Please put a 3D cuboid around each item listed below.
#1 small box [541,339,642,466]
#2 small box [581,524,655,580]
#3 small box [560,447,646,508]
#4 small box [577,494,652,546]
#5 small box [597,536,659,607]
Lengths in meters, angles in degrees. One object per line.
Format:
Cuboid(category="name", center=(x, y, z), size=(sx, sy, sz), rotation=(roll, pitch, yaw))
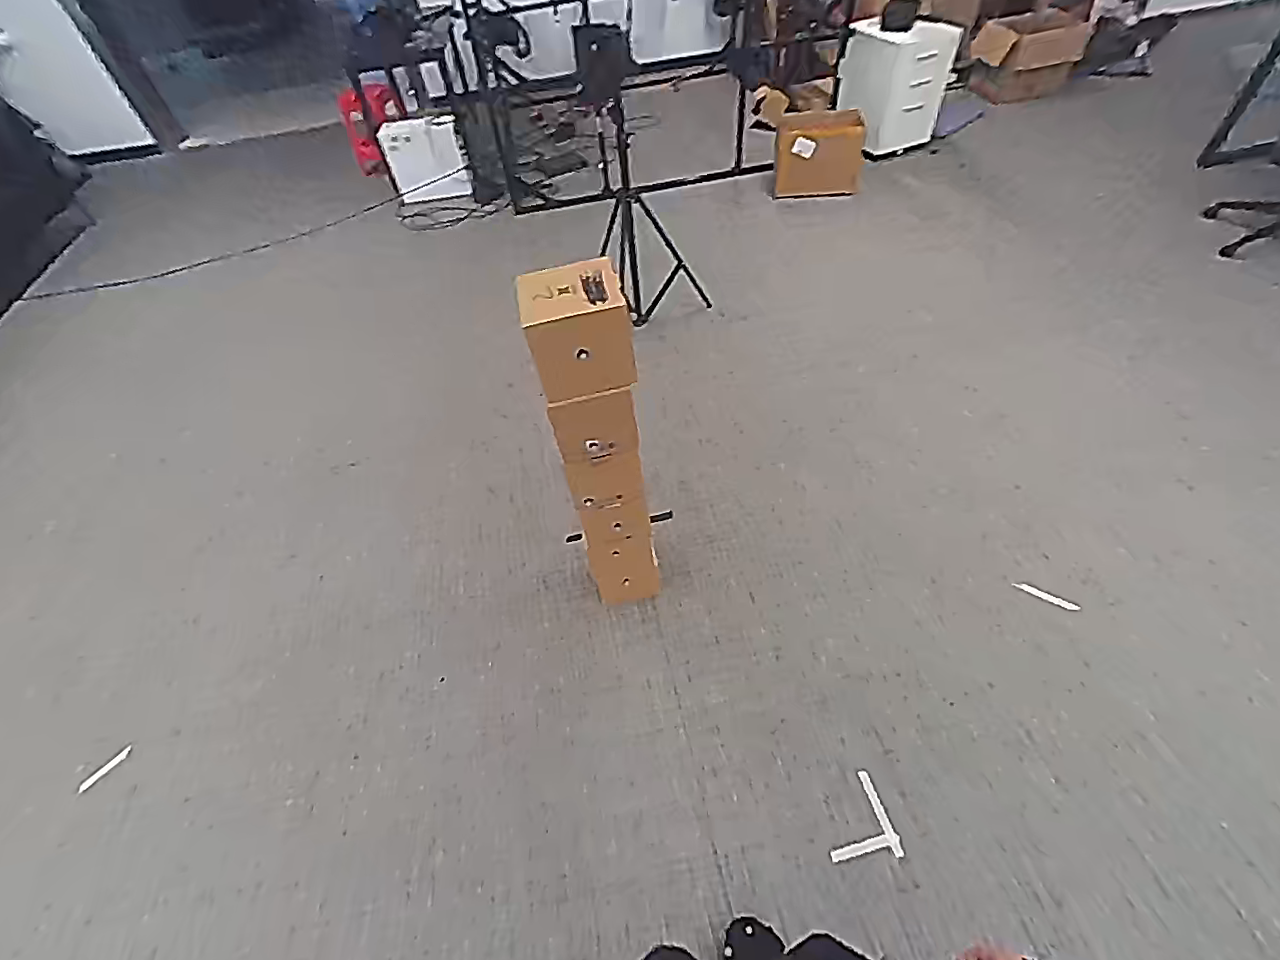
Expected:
Cuboid(category="small box", center=(-0.098, -0.157, 1.105), size=(0.168, 0.176, 0.179), rotation=(-14, 52, -3))
Cuboid(category="small box", center=(-0.061, 0.158, 1.479), size=(0.179, 0.176, 0.168), rotation=(-10, 51, -1))
Cuboid(category="small box", center=(-0.086, -0.054, 1.230), size=(0.168, 0.176, 0.179), rotation=(-11, 50, -2))
Cuboid(category="small box", center=(-0.068, 0.051, 1.355), size=(0.168, 0.176, 0.179), rotation=(-11, 51, -2))
Cuboid(category="small box", center=(-0.041, 0.257, 1.608), size=(0.179, 0.176, 0.168), rotation=(-12, 51, -3))
